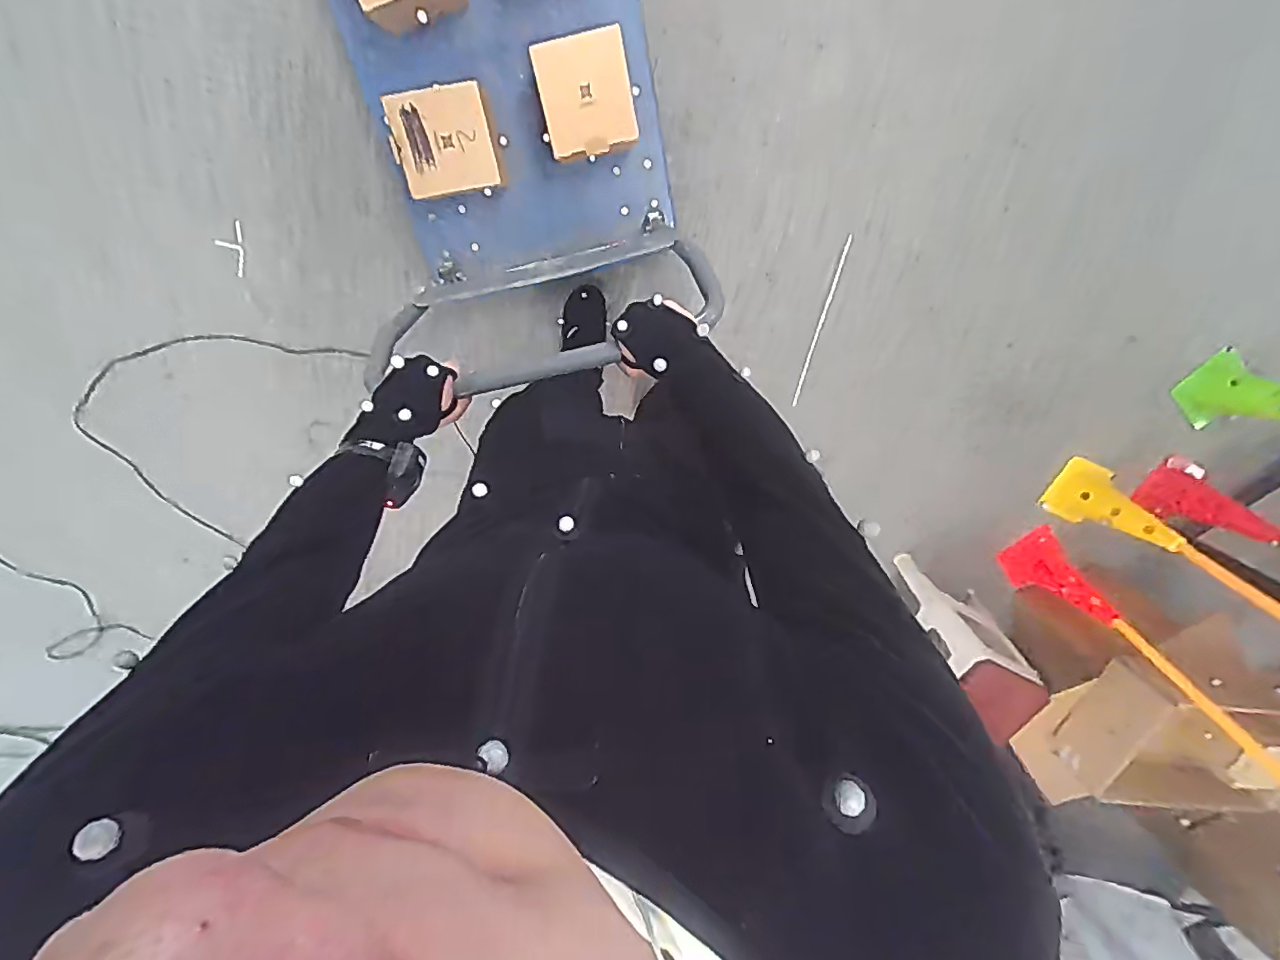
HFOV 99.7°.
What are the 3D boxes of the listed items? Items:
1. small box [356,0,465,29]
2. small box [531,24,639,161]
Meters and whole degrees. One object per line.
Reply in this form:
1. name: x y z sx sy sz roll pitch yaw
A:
1. small box: -0.419 -0.909 0.922 0.168 0.176 0.179 -19 118 4
2. small box: -0.105 -0.737 1.048 0.168 0.176 0.179 -13 120 1
